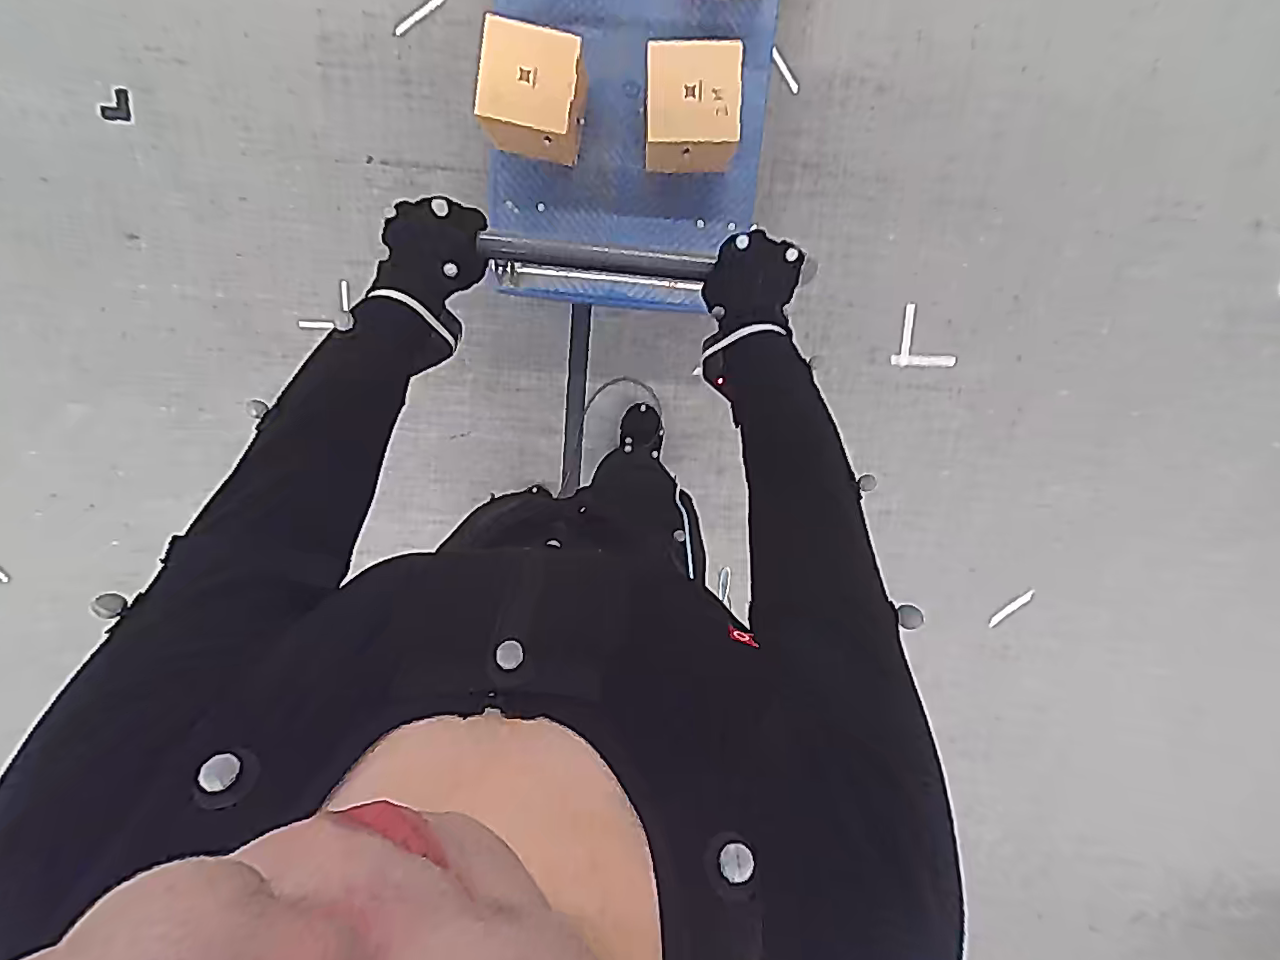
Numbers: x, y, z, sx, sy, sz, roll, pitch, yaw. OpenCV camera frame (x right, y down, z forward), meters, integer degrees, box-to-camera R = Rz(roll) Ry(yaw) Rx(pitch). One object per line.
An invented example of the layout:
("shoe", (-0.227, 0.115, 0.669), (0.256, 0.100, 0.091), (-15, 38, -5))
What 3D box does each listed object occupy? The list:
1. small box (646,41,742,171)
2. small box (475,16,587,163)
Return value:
("small box", (0.099, -0.731, 1.074), (0.179, 0.176, 0.168), (0, 103, 0))
("small box", (-0.207, -0.755, 1.066), (0.179, 0.176, 0.168), (10, 102, -5))
